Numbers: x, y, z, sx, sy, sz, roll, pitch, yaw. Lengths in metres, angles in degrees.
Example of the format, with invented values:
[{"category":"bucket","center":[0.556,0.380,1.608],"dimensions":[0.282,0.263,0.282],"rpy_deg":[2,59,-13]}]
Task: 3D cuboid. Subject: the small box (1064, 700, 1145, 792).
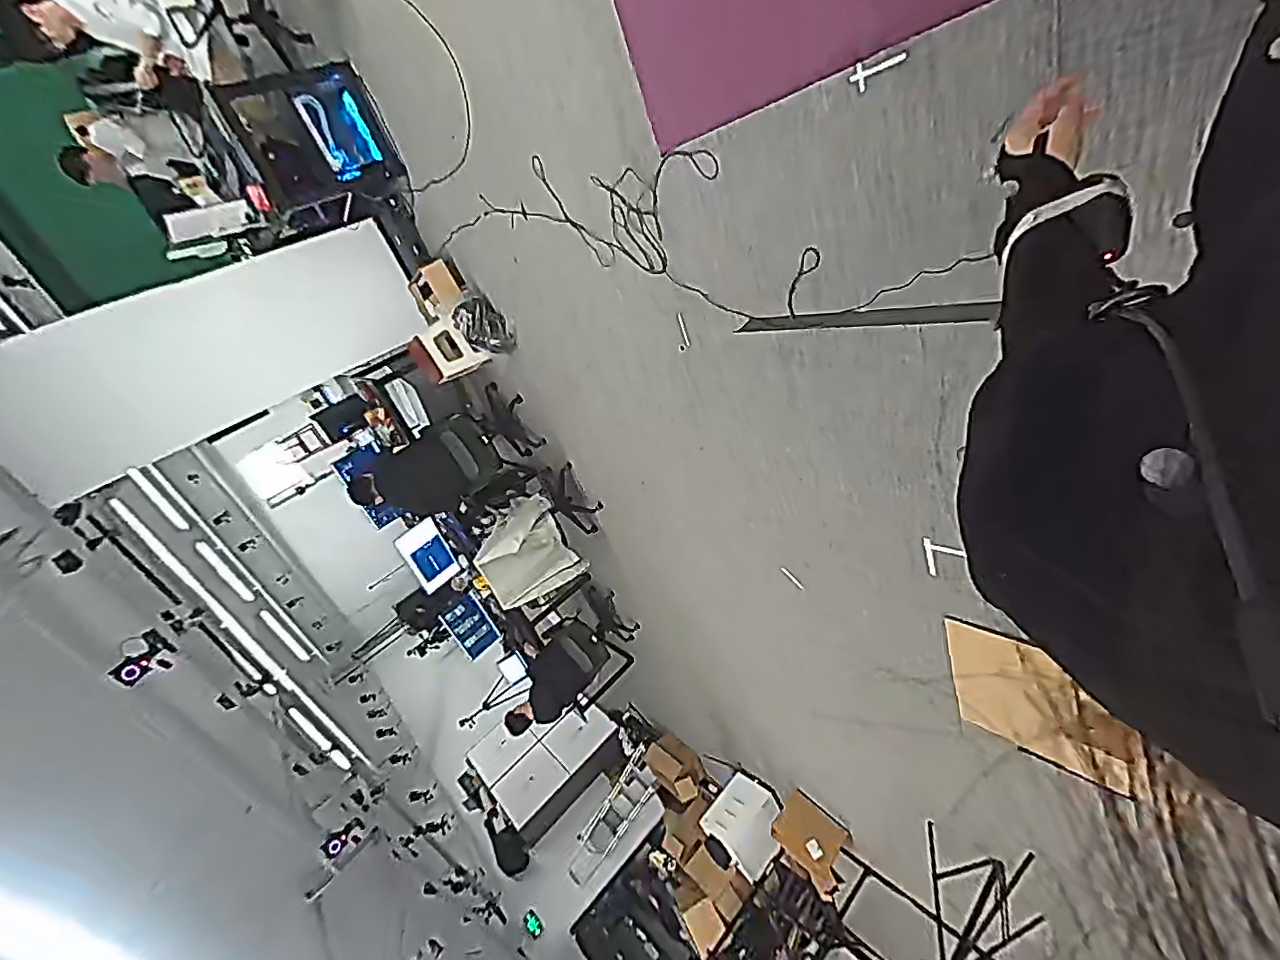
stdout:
[{"category":"small box","center":[1.511,0.857,1.759],"dimensions":[0.168,0.176,0.179],"rpy_deg":[16,136,51]}]
